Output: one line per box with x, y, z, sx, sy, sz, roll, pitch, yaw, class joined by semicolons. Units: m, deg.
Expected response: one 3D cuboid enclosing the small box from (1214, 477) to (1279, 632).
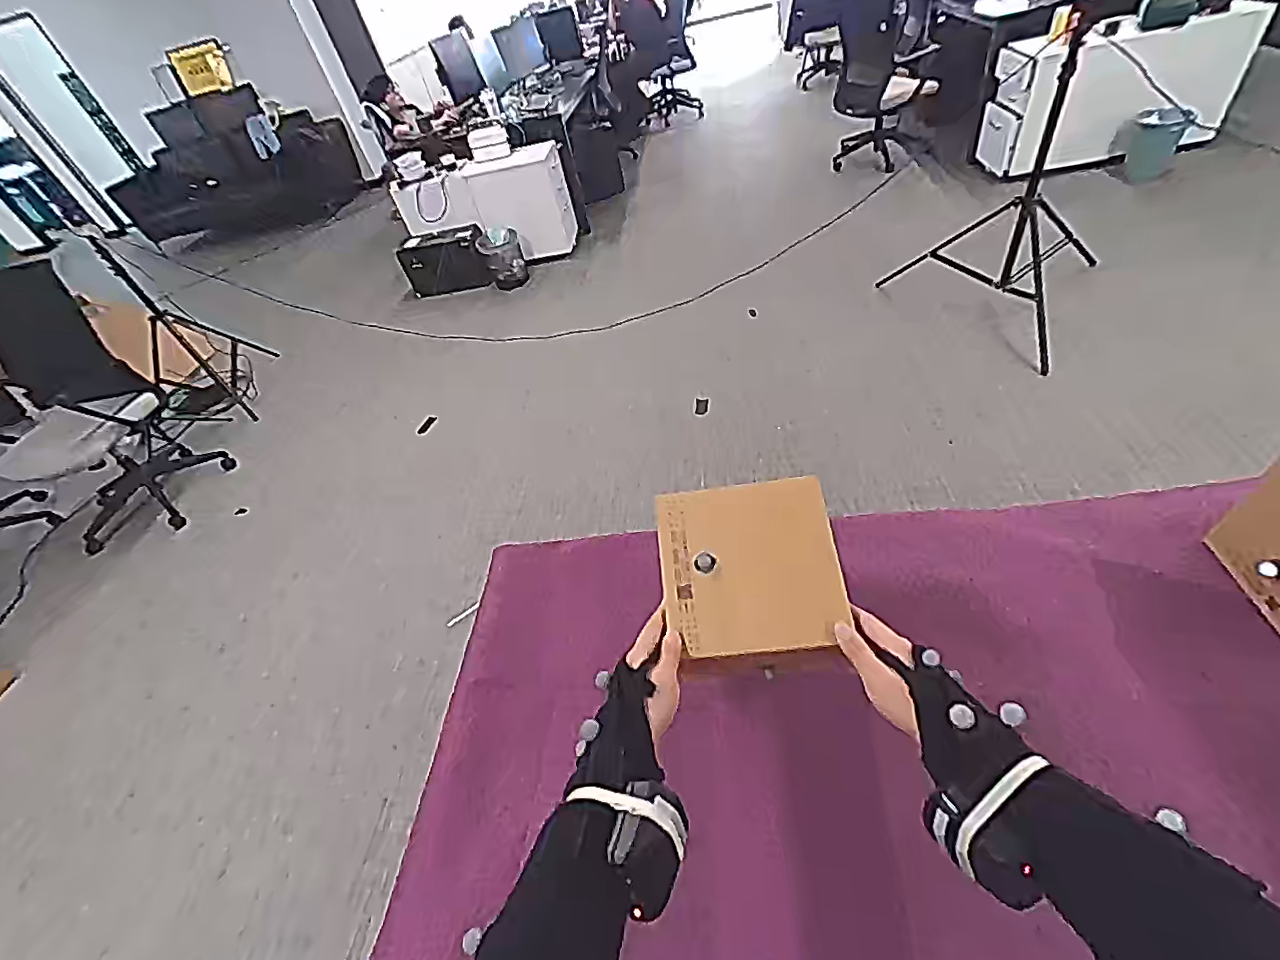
0.775;0.070;0.551;0.179;0.176;0.168;-5;46;10;small box
